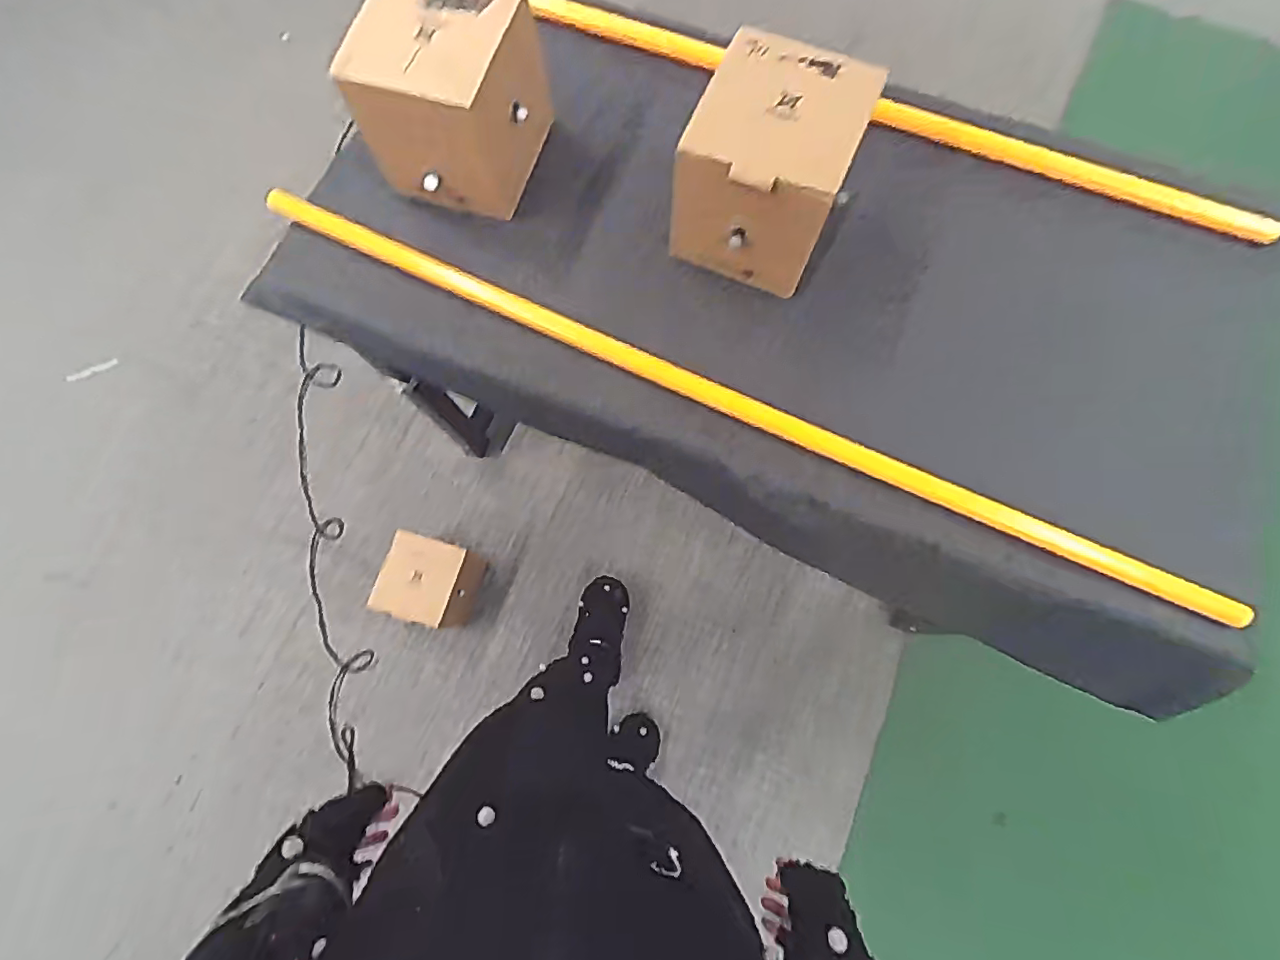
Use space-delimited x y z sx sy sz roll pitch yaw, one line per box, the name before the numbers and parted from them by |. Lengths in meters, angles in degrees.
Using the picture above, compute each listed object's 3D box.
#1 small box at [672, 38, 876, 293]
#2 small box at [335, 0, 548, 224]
small box | 0.144 -0.351 0.629 0.168 0.176 0.179 20 76 8
small box | -0.221 -0.457 0.661 0.168 0.176 0.179 16 77 5
